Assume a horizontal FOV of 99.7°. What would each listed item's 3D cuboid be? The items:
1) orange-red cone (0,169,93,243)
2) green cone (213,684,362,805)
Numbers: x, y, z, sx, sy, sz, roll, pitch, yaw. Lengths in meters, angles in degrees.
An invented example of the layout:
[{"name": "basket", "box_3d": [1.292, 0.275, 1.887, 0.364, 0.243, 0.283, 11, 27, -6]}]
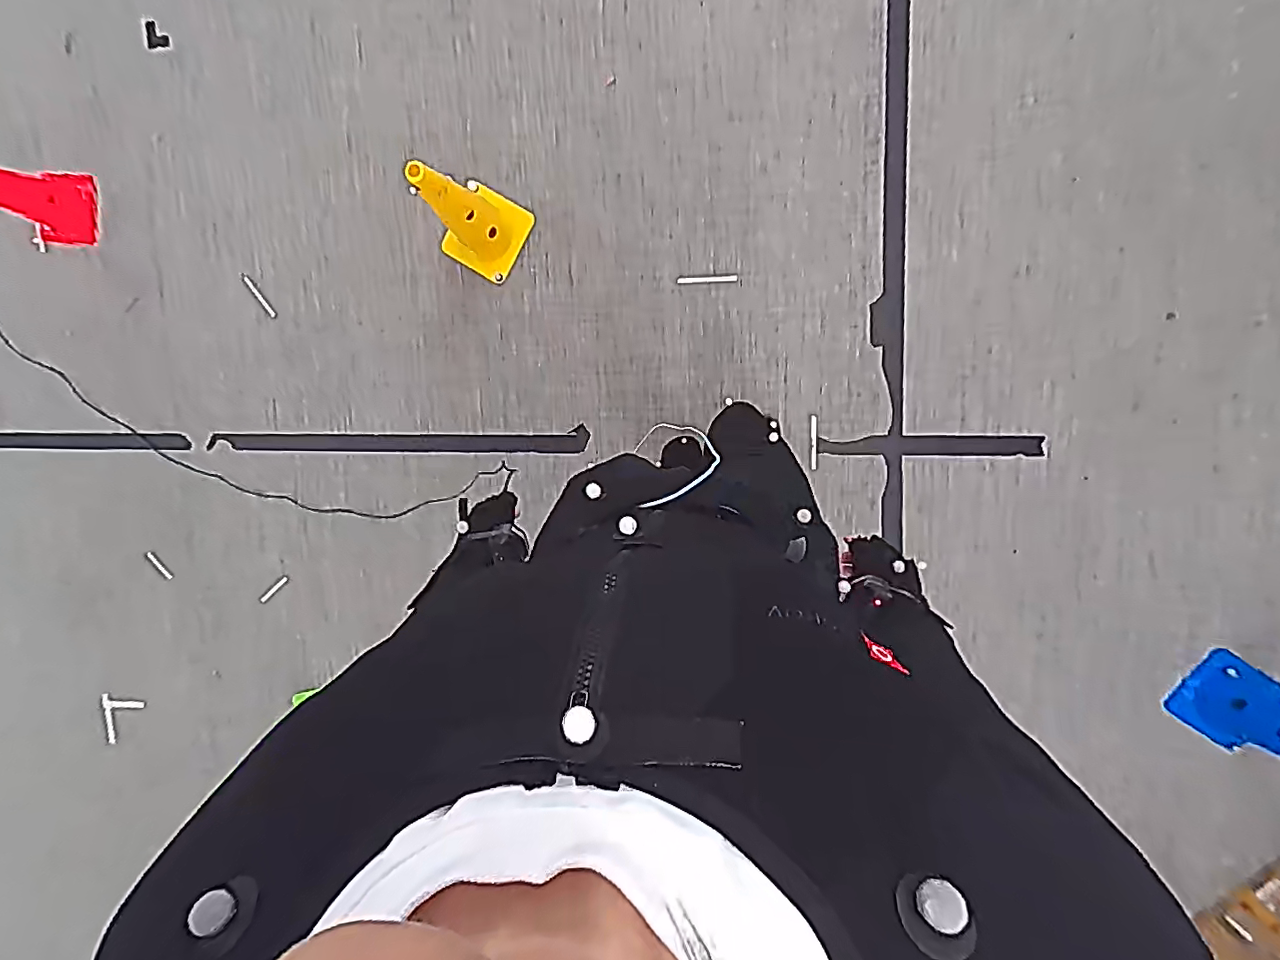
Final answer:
[{"name": "orange-red cone", "box_3d": [-1.704, -0.781, 1.410, 0.199, 0.360, 0.198, 7, 98, 6]}, {"name": "green cone", "box_3d": [-0.982, 0.744, 1.479, 0.202, 0.368, 0.200, -16, 93, 11]}]
